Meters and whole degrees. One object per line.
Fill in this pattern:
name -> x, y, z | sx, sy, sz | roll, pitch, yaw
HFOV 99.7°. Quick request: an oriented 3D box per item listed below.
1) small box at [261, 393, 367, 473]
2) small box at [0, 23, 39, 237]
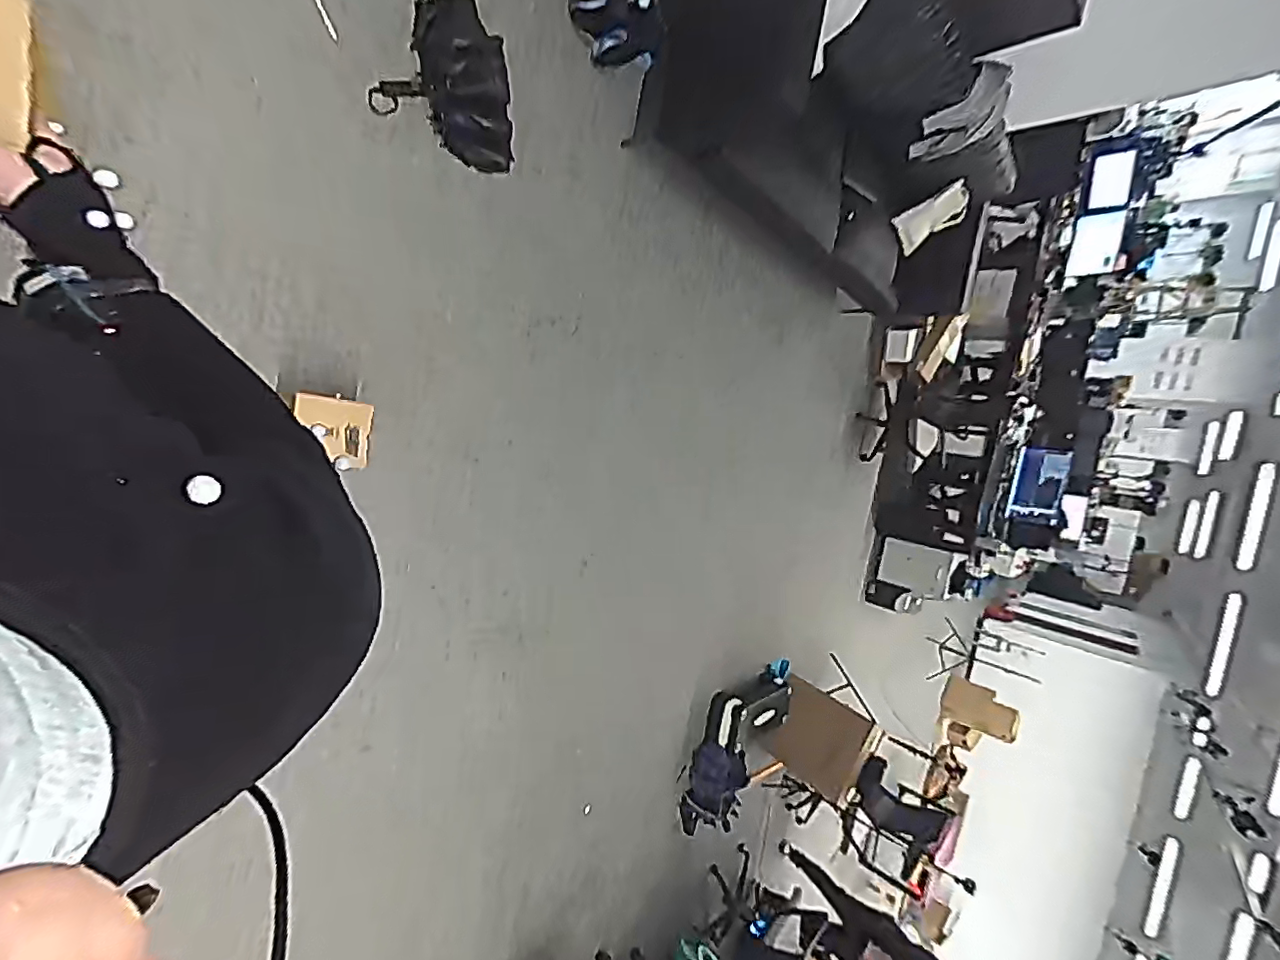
small box -> -0.818, -0.120, 1.358 | 0.179, 0.176, 0.168 | 6, 96, -48
small box -> -0.641, -0.318, 0.455 | 0.168, 0.176, 0.179 | 1, 106, -42
